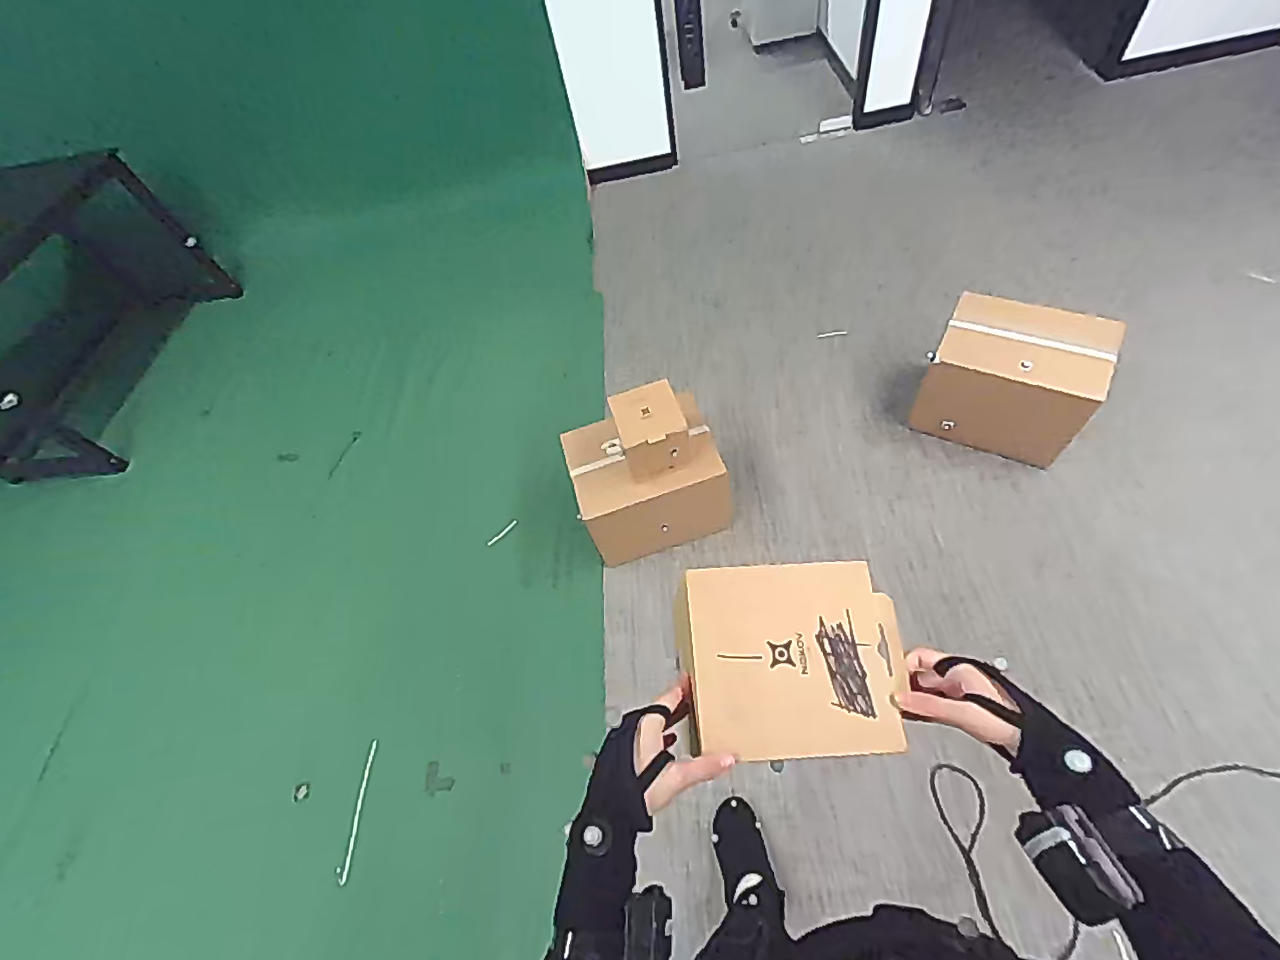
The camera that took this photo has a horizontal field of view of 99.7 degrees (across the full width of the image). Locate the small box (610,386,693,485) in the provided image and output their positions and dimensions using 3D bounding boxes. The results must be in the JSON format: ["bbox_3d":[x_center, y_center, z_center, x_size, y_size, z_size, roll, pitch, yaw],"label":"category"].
[{"bbox_3d":[0.034,-0.107,1.409,0.168,0.176,0.179,-18,55,-1],"label":"small box"}]

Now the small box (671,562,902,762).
[{"bbox_3d":[0.128,0.185,0.548,0.179,0.176,0.168,-2,66,-1],"label":"small box"}]

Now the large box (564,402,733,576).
[{"bbox_3d":[0.032,0.033,1.616,0.408,0.320,0.320,-20,53,-1],"label":"large box"}]
